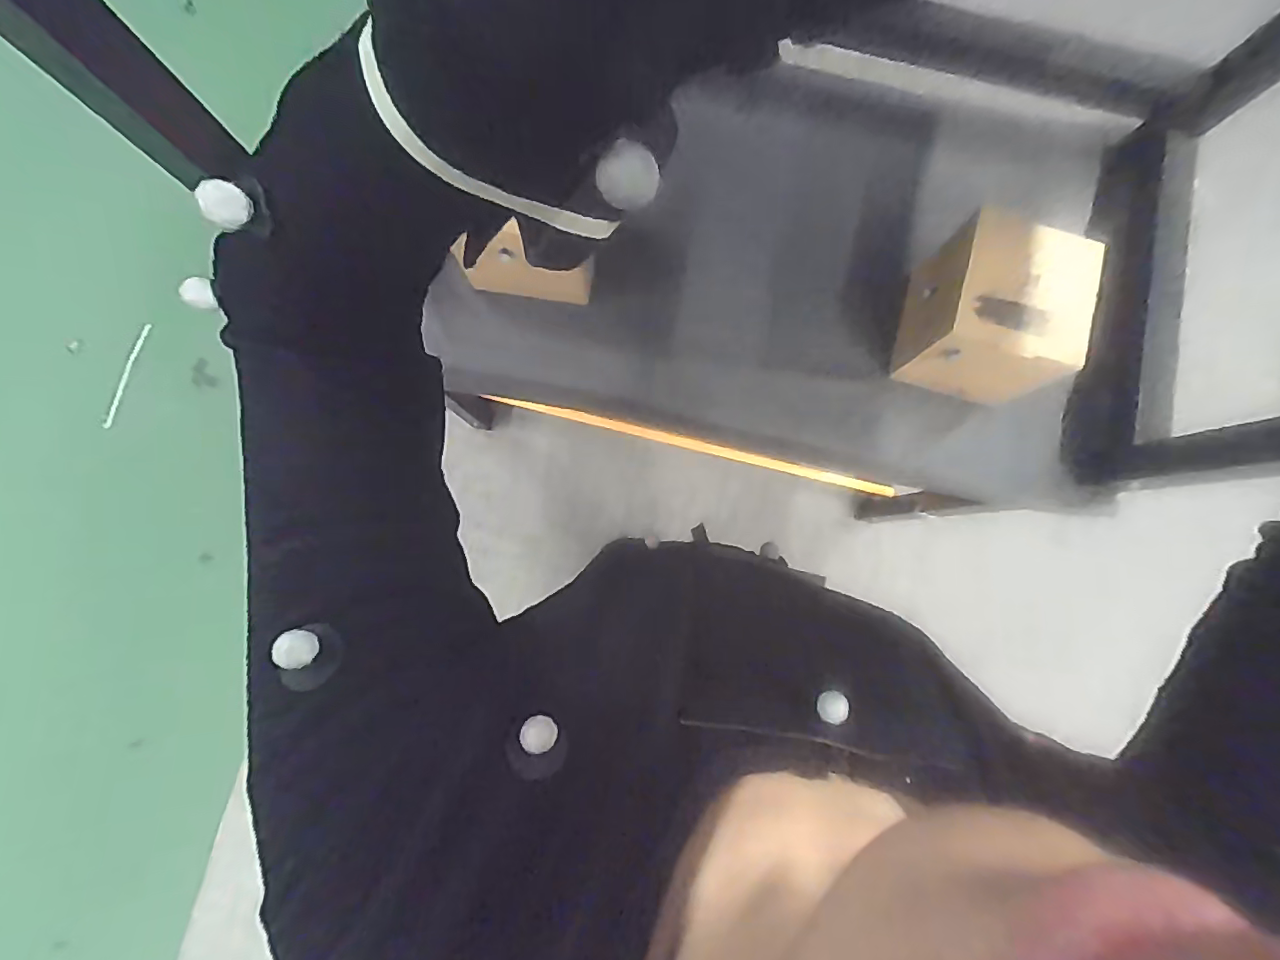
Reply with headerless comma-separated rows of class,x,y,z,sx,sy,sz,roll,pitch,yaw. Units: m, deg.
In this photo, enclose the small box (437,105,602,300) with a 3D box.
small box,-0.153,-0.369,0.748,0.179,0.176,0.168,9,83,-1
